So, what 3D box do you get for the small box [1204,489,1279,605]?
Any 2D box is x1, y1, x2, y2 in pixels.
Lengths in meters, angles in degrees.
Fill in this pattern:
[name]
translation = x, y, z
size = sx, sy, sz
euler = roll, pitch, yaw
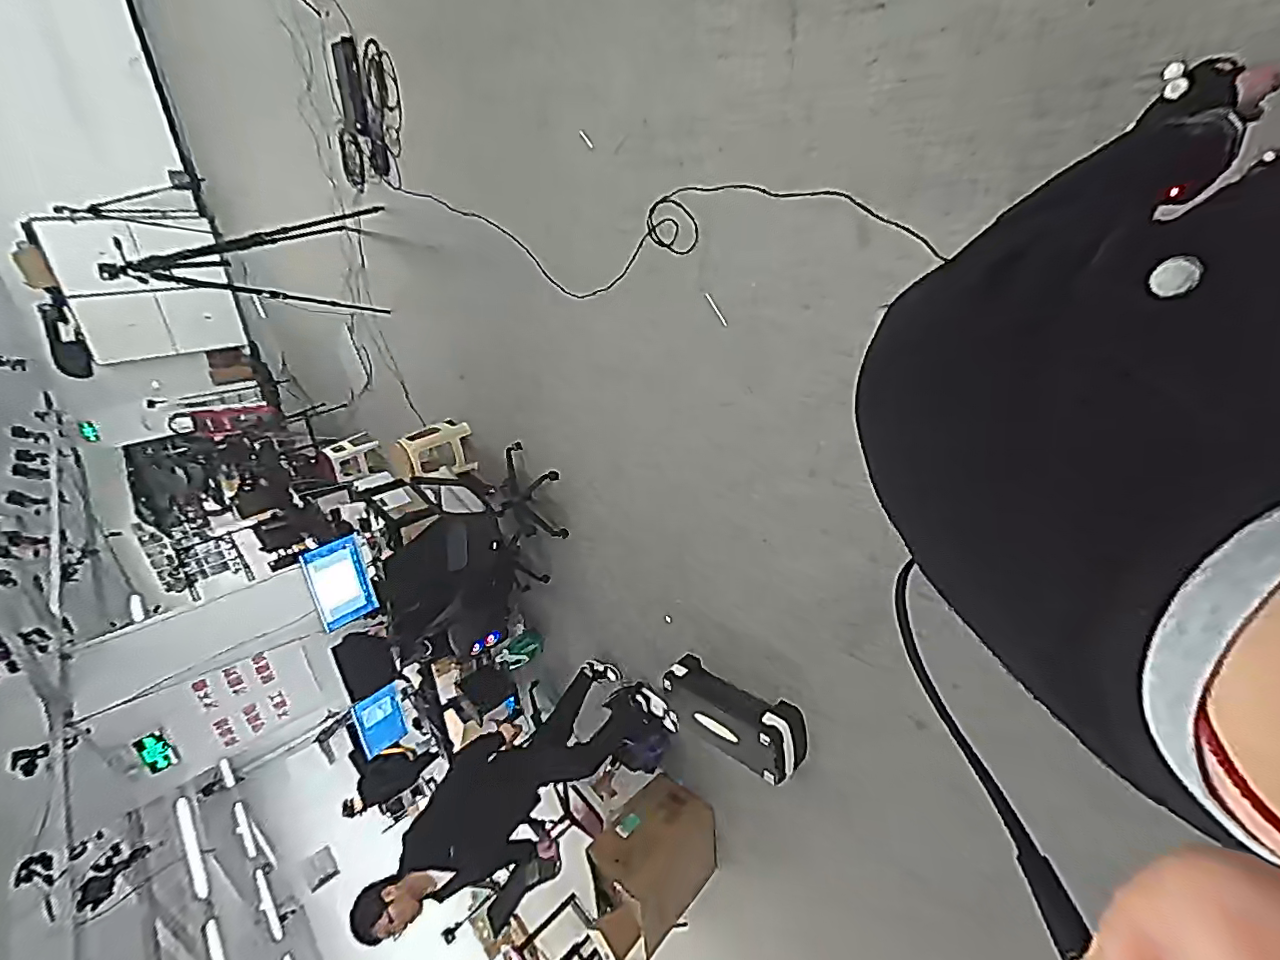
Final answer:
[small box]
translation = 1.246, 0.122, 1.052
size = 0.168, 0.176, 0.179
euler = -24, 92, 53
